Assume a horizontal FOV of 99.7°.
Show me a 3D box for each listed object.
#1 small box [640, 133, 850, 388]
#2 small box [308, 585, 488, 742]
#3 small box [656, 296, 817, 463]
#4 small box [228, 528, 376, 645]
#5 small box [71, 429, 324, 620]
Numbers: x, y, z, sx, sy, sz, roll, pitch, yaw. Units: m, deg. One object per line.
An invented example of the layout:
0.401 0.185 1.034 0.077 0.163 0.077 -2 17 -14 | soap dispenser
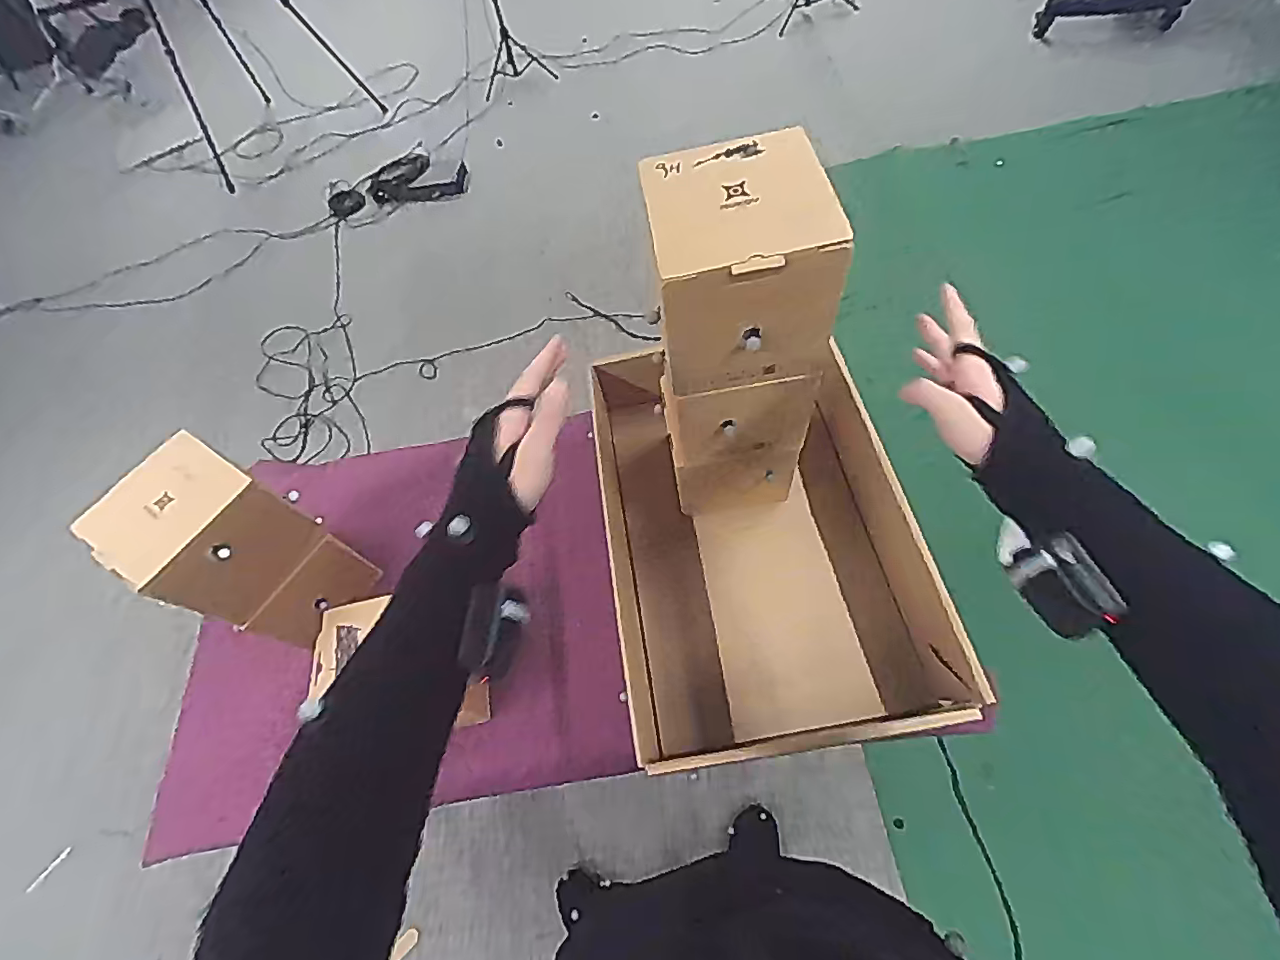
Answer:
0.099 -0.213 0.563 0.168 0.176 0.179 -9 62 3 | small box
-0.337 0.273 0.787 0.179 0.176 0.168 -13 59 0 | small box
0.119 -0.135 0.706 0.168 0.176 0.179 -9 61 4 | small box
-0.580 0.152 0.889 0.179 0.176 0.168 28 67 21 | small box
-0.593 0.068 0.749 0.168 0.176 0.179 29 68 19 | small box
